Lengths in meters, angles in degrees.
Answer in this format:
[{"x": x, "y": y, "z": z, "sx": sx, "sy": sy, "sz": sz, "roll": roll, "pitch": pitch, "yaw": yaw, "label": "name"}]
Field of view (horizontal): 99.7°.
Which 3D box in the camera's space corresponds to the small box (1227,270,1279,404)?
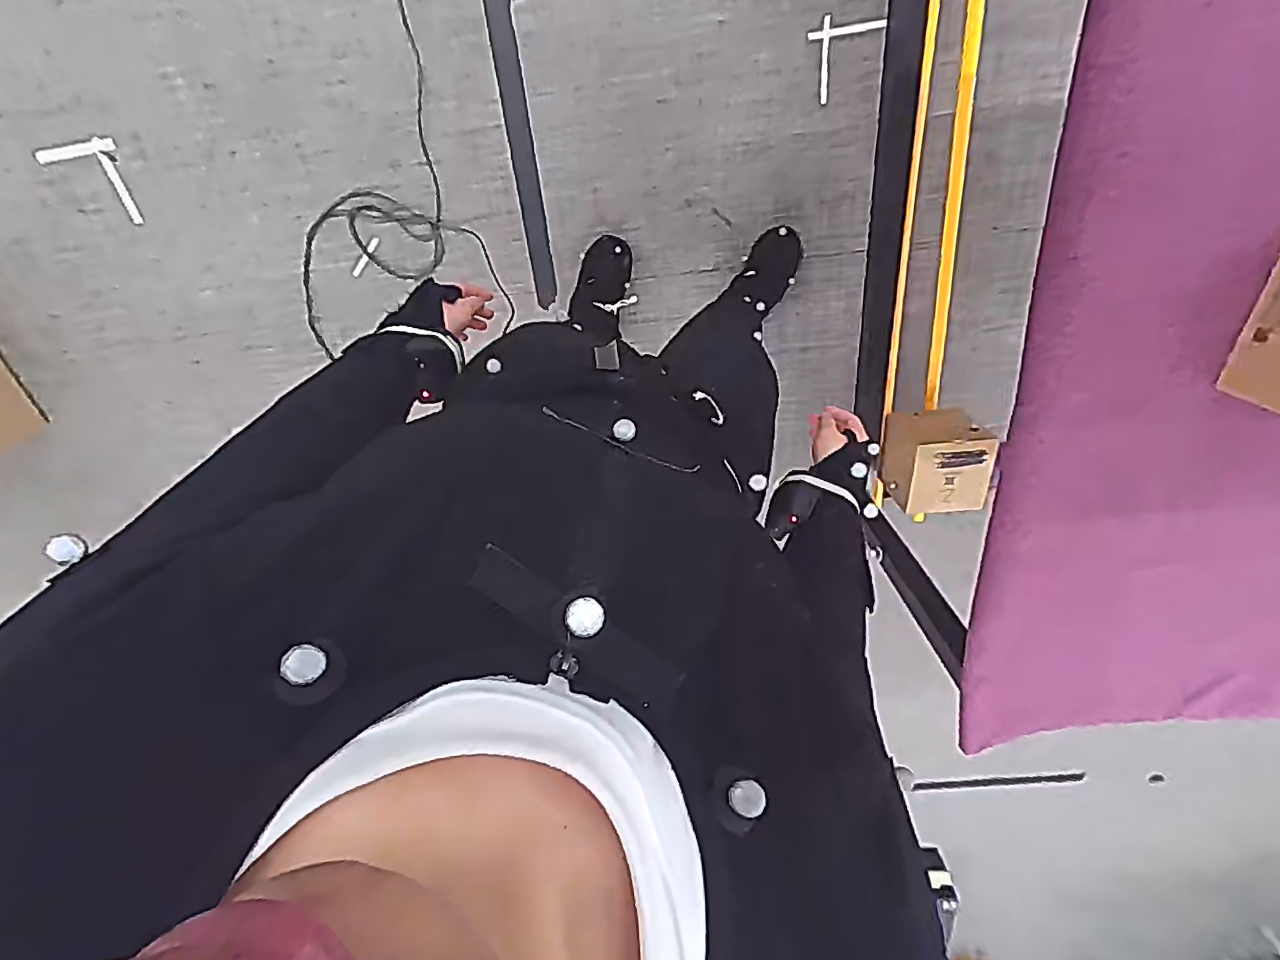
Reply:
[{"x": 0.695, "y": -0.134, "z": 0.459, "sx": 0.179, "sy": 0.176, "sz": 0.168, "roll": -1, "pitch": 119, "yaw": 1, "label": "small box"}]
